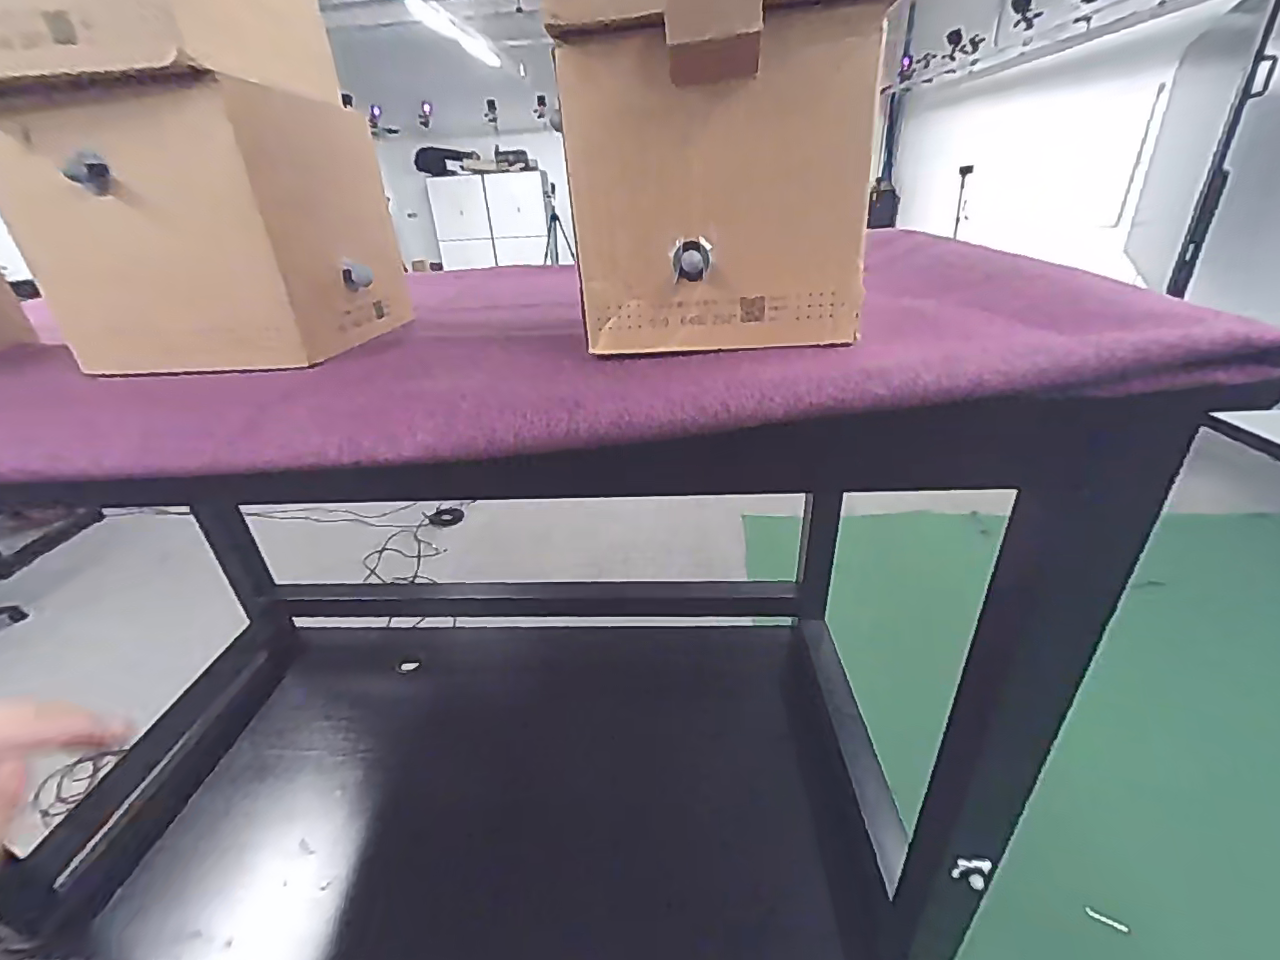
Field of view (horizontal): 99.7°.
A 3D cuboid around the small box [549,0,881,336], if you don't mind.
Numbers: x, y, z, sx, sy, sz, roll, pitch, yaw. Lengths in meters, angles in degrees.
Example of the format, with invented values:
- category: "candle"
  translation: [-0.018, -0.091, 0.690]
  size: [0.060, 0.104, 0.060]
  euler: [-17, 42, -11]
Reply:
- category: "small box"
  translation: [0.048, -0.199, 0.371]
  size: [0.168, 0.176, 0.179]
  euler: [-1, 27, 8]

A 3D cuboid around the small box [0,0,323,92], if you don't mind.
- category: "small box"
  translation: [-0.327, -0.331, 0.322]
  size: [0.168, 0.176, 0.179]
  euler: [-3, 28, 1]

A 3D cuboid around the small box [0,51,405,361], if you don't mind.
- category: "small box"
  translation: [-0.311, -0.191, 0.407]
  size: [0.179, 0.176, 0.168]
  euler: [-1, 27, 5]
